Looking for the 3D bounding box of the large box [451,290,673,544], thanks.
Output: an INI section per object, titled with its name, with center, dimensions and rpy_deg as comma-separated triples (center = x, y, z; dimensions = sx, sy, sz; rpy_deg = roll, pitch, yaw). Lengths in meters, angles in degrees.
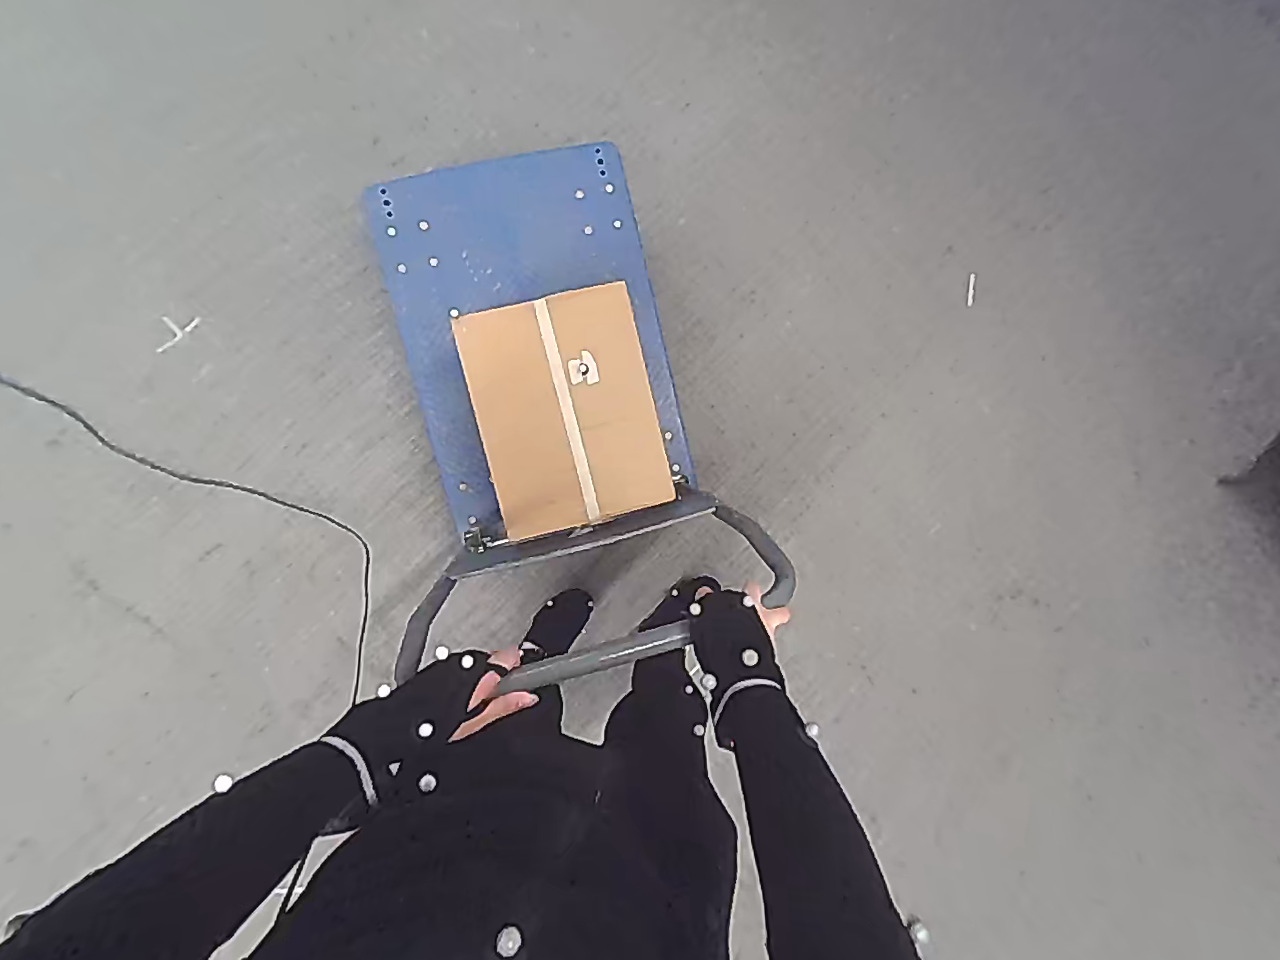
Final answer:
[large box]
center = -0.151, -0.118, 1.118
dimensions = 0.320, 0.320, 0.408
rpy_deg = -15, 94, -7
